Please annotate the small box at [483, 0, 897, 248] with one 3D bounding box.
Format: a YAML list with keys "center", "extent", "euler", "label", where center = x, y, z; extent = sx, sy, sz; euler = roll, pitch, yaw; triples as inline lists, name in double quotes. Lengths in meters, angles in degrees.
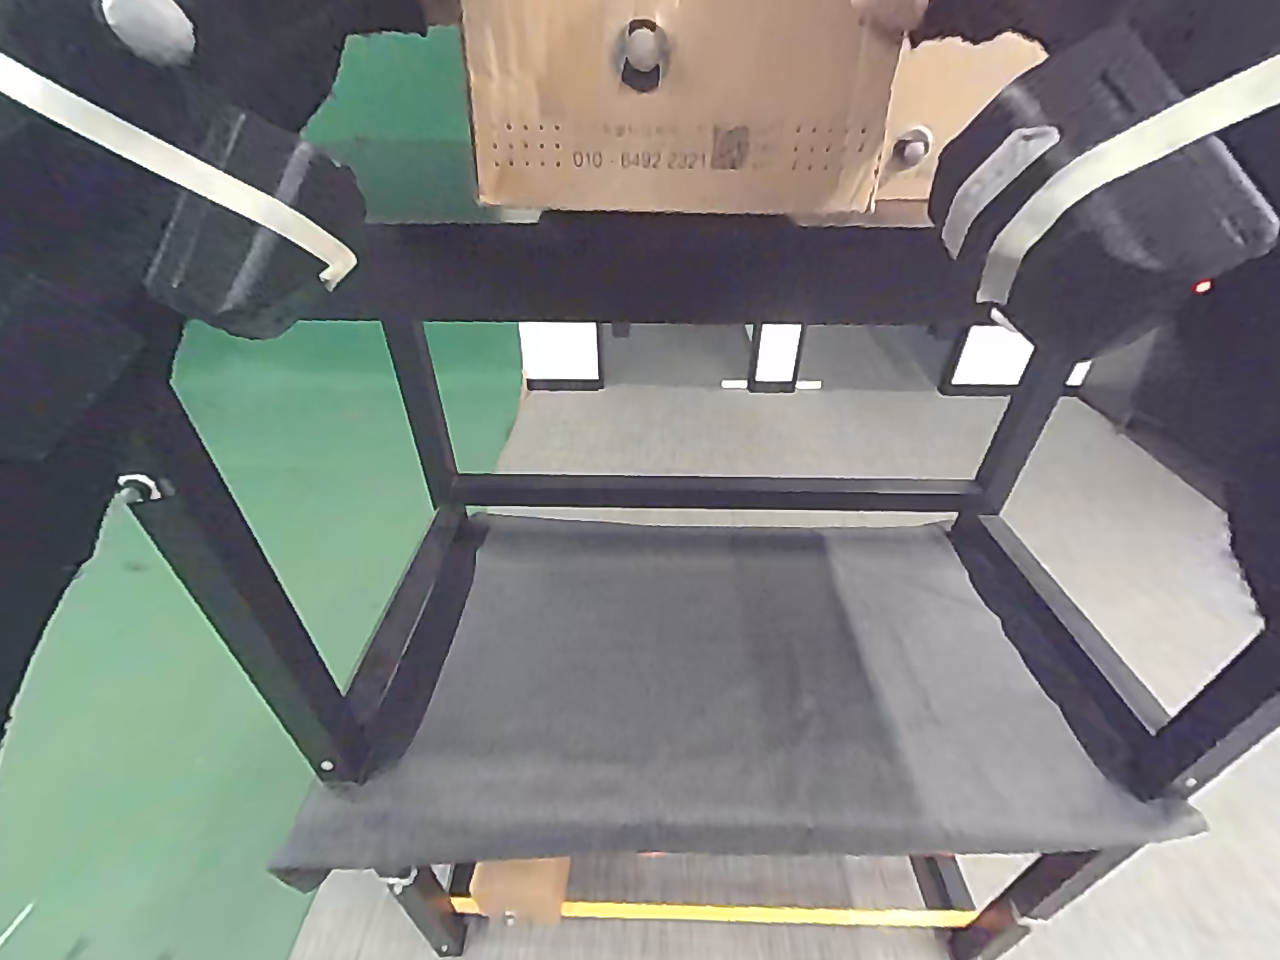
- center: [0.018, -0.222, 0.279]
  extent: [0.168, 0.176, 0.179]
  euler: [1, 29, 0]
  label: "small box"
